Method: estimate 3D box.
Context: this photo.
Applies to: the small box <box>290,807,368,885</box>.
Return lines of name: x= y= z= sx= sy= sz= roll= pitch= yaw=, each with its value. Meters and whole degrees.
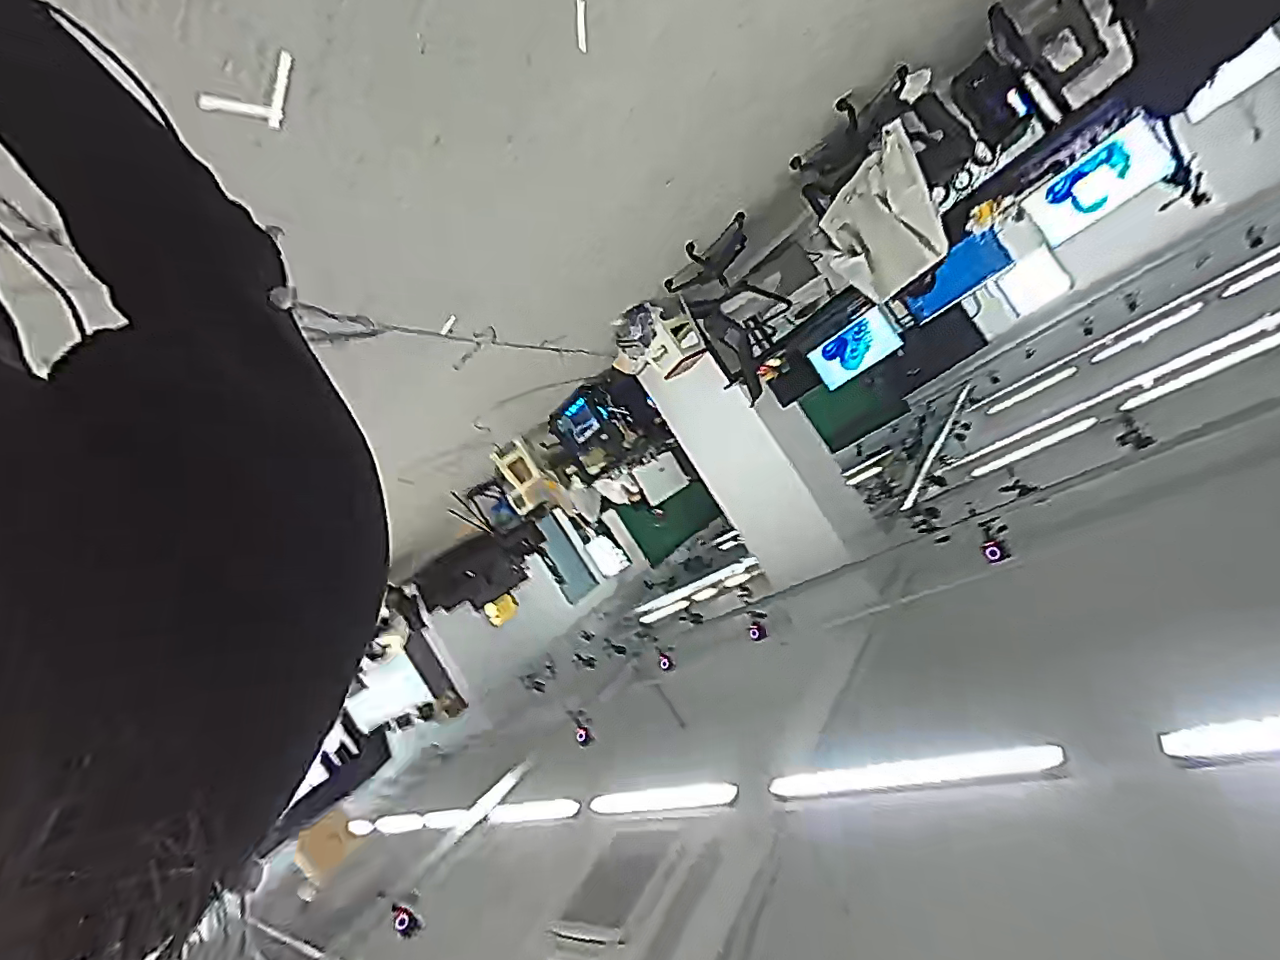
small box: x=-1.113 y=1.301 z=1.928 sx=0.179 sy=0.176 sz=0.168 roll=-33 pitch=177 yaw=39
